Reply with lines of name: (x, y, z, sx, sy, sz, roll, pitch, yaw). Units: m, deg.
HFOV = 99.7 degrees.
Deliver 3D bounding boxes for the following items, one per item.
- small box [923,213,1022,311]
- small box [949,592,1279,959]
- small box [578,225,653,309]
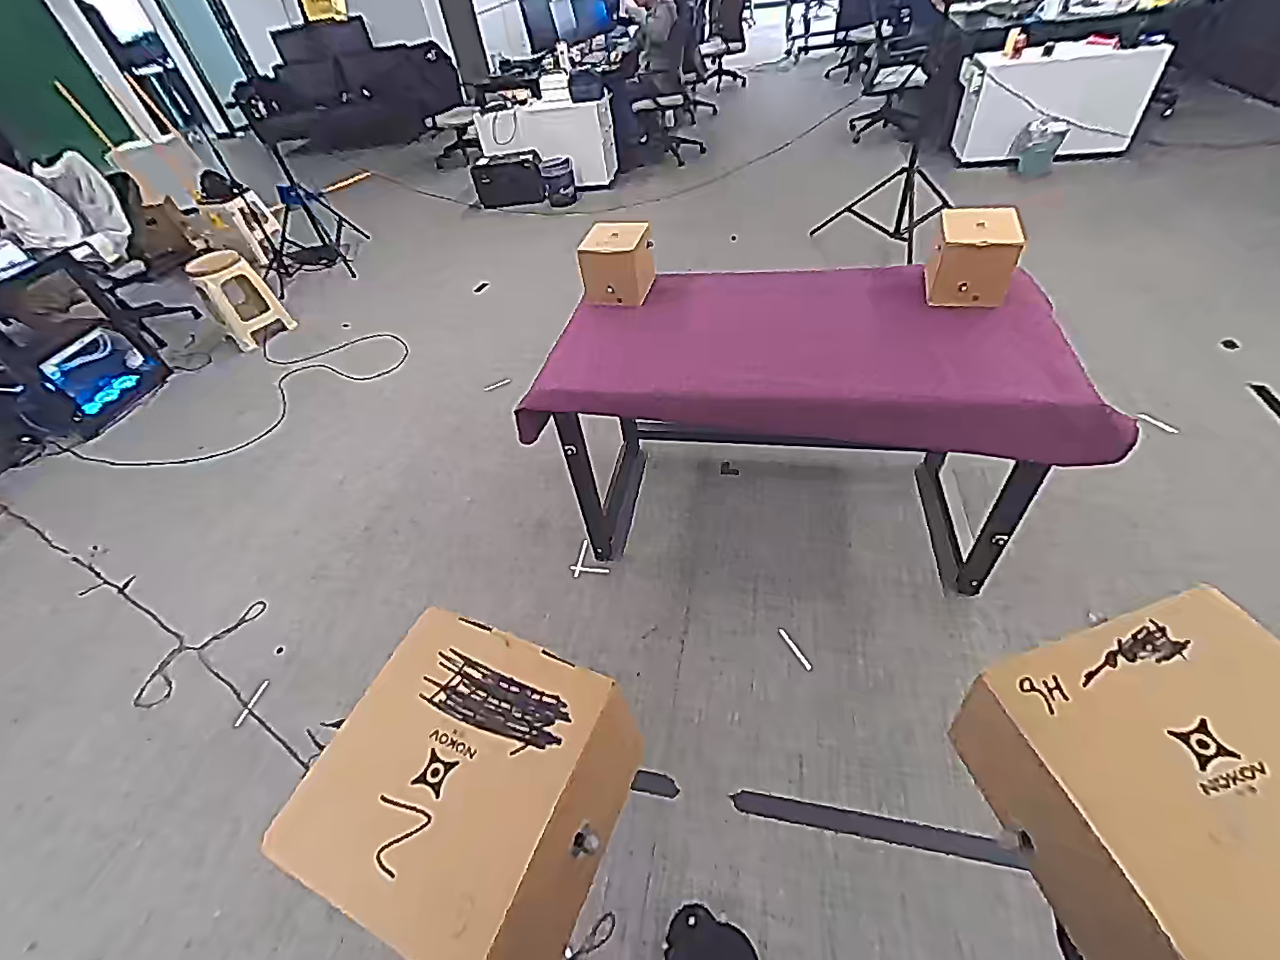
small box: (0.826, -0.550, 1.362, 0.168, 0.176, 0.179, 7, 52, 16)
small box: (0.350, 0.212, 0.373, 0.168, 0.176, 0.179, -21, 49, 2)
small box: (-0.063, -0.621, 1.572, 0.168, 0.176, 0.179, 7, 50, 15)
